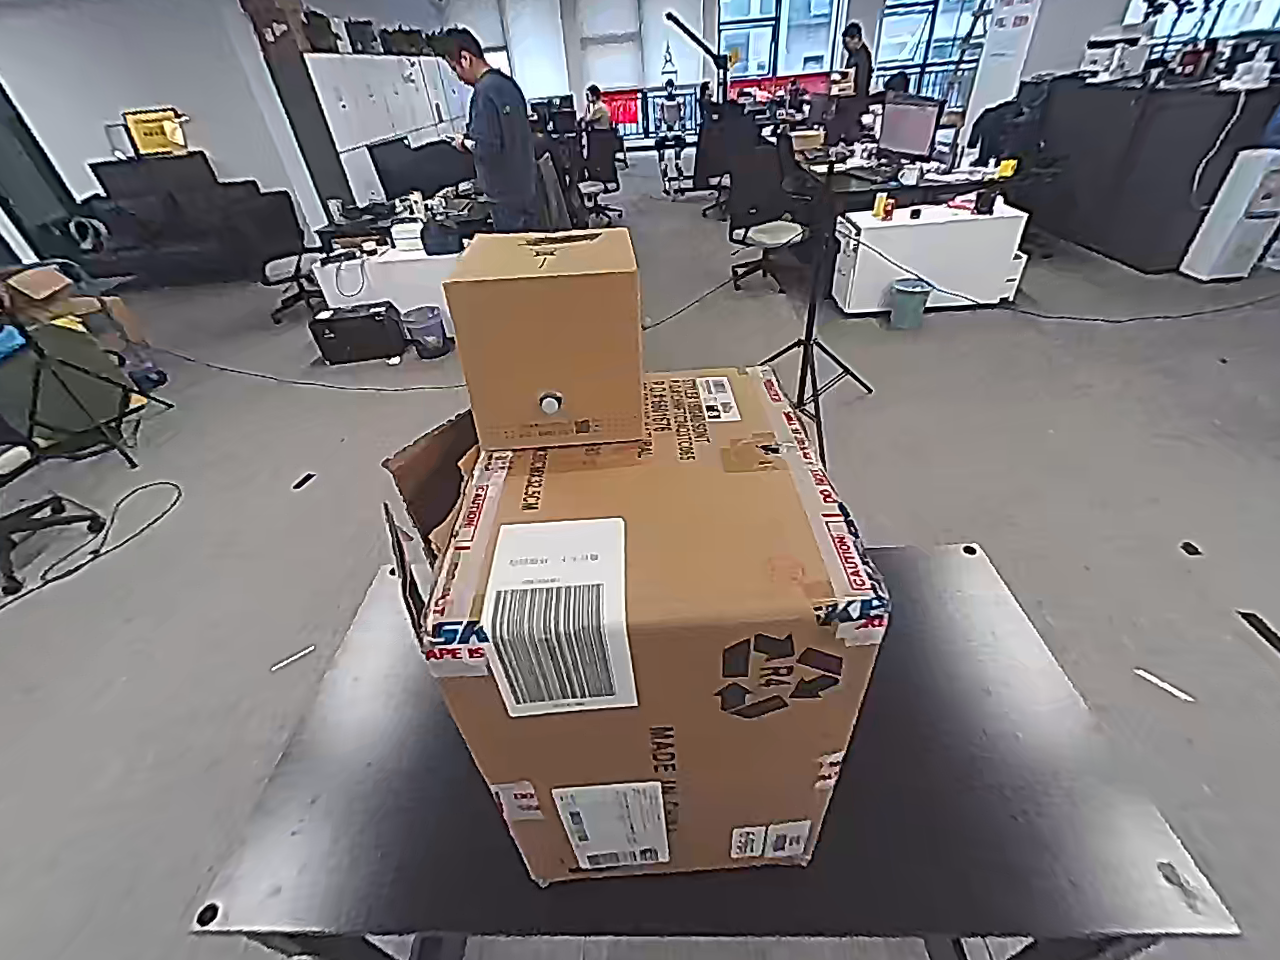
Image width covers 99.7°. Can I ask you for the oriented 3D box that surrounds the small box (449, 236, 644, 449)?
[{"bbox_3d":[-0.084,-0.149,0.572,0.168,0.176,0.179,-4,36,-2],"label":"small box"}]
